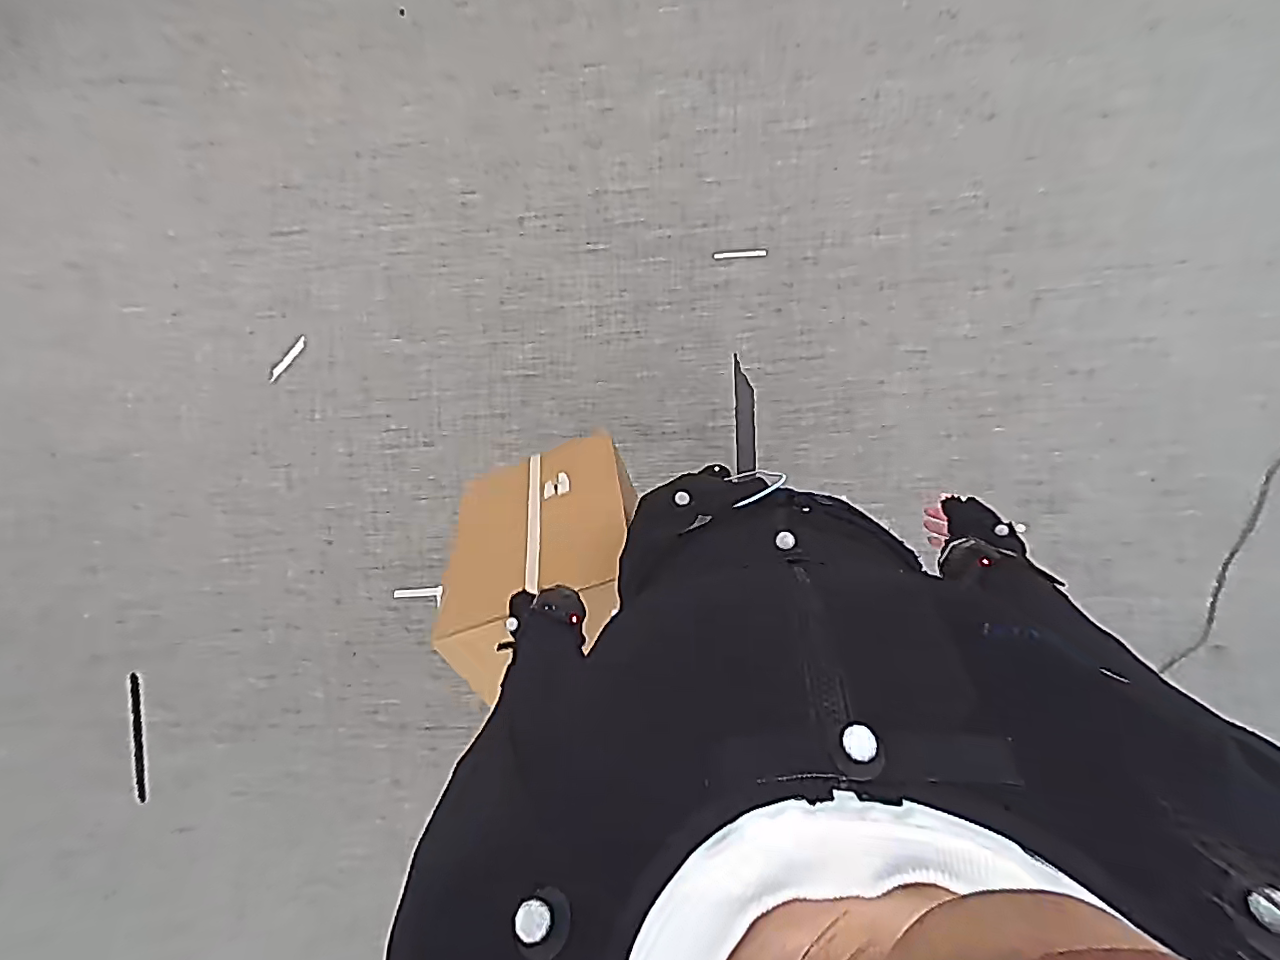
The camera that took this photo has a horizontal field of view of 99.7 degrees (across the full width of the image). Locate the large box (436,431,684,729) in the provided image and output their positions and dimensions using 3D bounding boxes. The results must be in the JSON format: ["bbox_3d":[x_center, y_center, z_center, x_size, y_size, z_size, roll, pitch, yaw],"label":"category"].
[{"bbox_3d":[-0.136,0.175,1.020,0.320,0.408,0.320,-18,125,5],"label":"large box"}]
